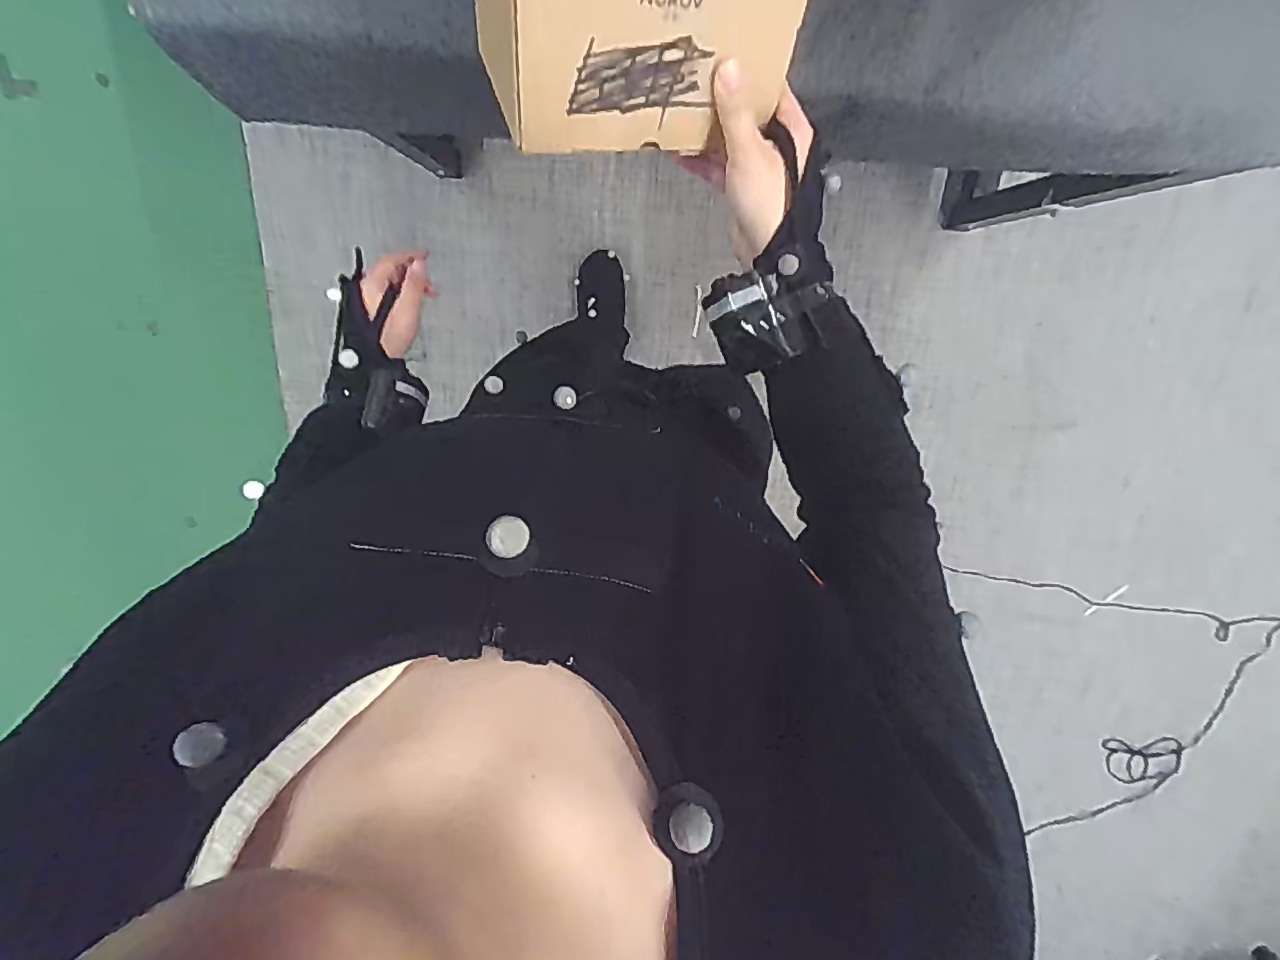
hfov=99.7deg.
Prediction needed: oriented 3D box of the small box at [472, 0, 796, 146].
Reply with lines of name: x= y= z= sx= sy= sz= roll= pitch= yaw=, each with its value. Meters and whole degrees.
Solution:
small box: x=-0.011 y=-0.330 z=0.321 sx=0.168 sy=0.176 sz=0.179 roll=-10 pitch=144 yaw=-18
